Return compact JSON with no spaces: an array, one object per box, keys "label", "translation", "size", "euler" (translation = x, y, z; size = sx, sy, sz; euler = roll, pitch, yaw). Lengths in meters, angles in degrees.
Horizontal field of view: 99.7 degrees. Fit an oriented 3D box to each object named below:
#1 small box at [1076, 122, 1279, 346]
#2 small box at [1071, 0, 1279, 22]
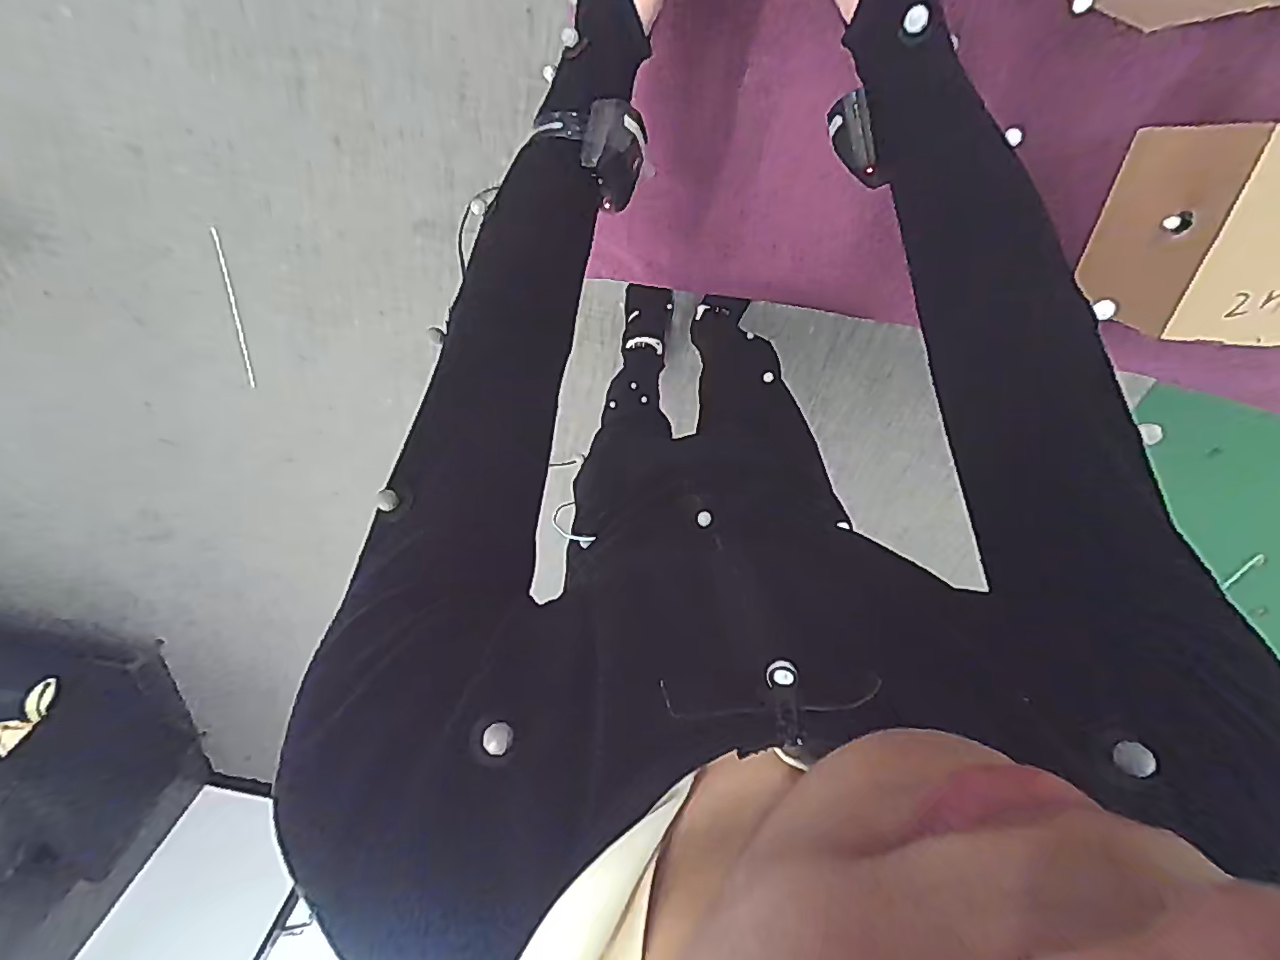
[{"label":"small box","translation":[0.585,-0.242,0.530],"size":[0.168,0.176,0.179],"euler":[5,122,5]},{"label":"small box","translation":[0.421,-0.476,0.401],"size":[0.179,0.176,0.168],"euler":[19,124,-5]}]
